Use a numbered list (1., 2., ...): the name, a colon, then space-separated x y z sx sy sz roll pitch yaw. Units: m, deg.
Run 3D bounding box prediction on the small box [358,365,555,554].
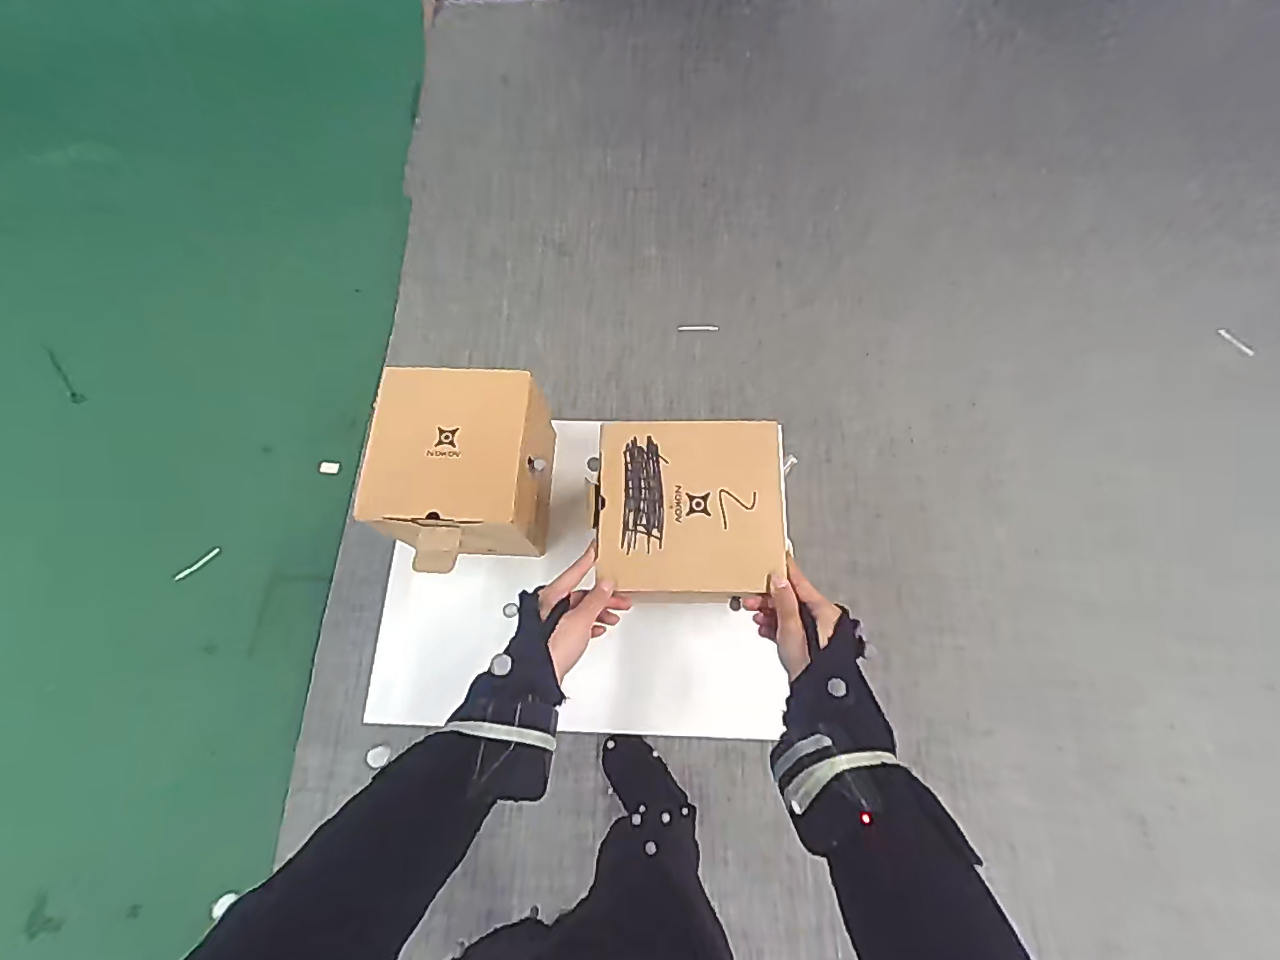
1. small box: -0.199 -0.016 0.643 0.168 0.176 0.179 2 72 1
